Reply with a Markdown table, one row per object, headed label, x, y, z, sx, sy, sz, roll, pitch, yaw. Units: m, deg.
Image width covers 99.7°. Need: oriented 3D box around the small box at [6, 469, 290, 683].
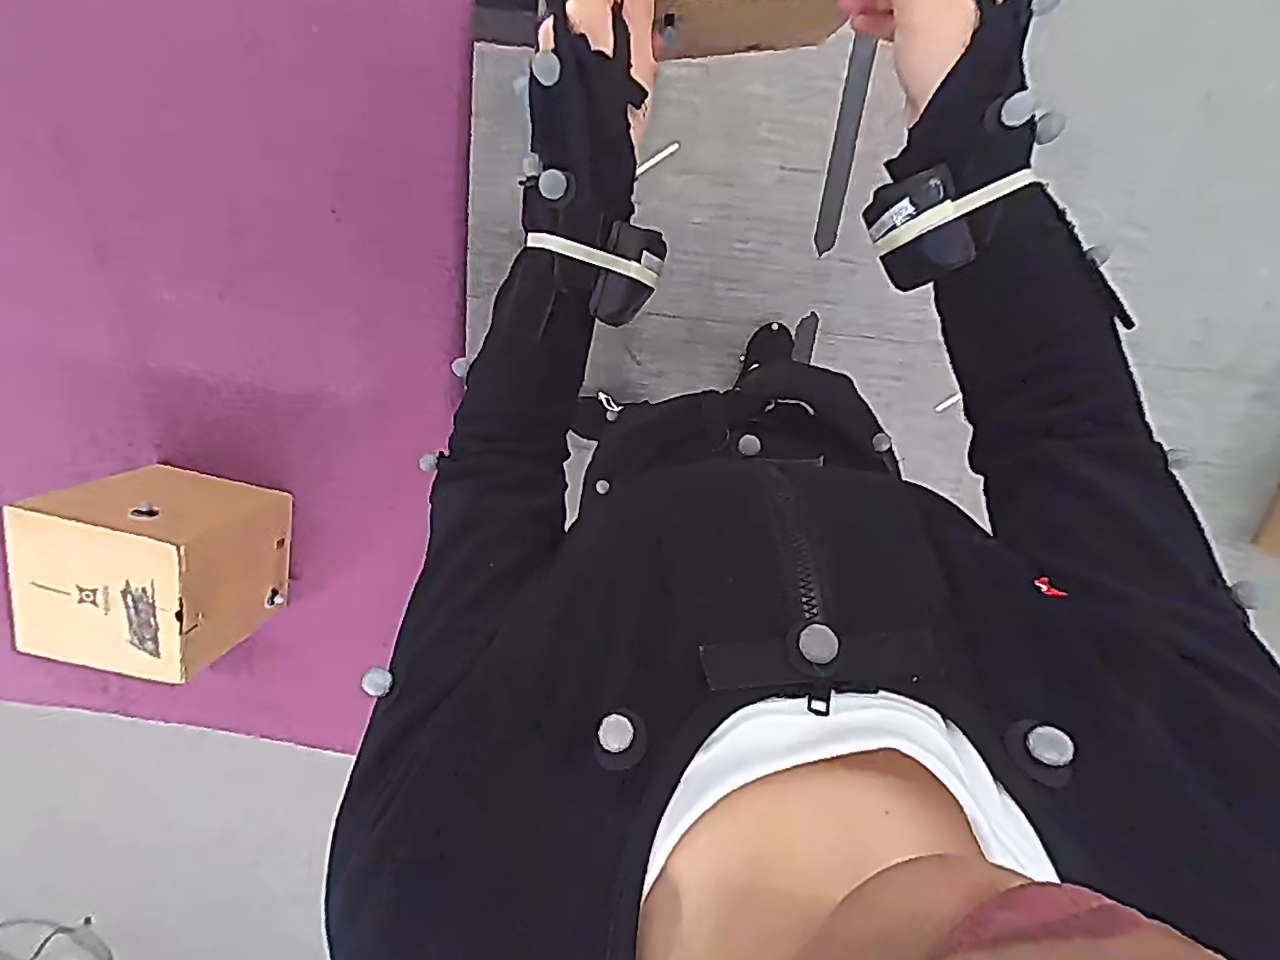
| label | x | y | z | sx | sy | sz | roll | pitch | yaw |
| --- | --- | --- | --- | --- | --- | --- | --- | --- | --- |
| small box | -0.538 | 0.097 | 0.619 | 0.179 | 0.176 | 0.168 | 13 | 105 | -1 |
